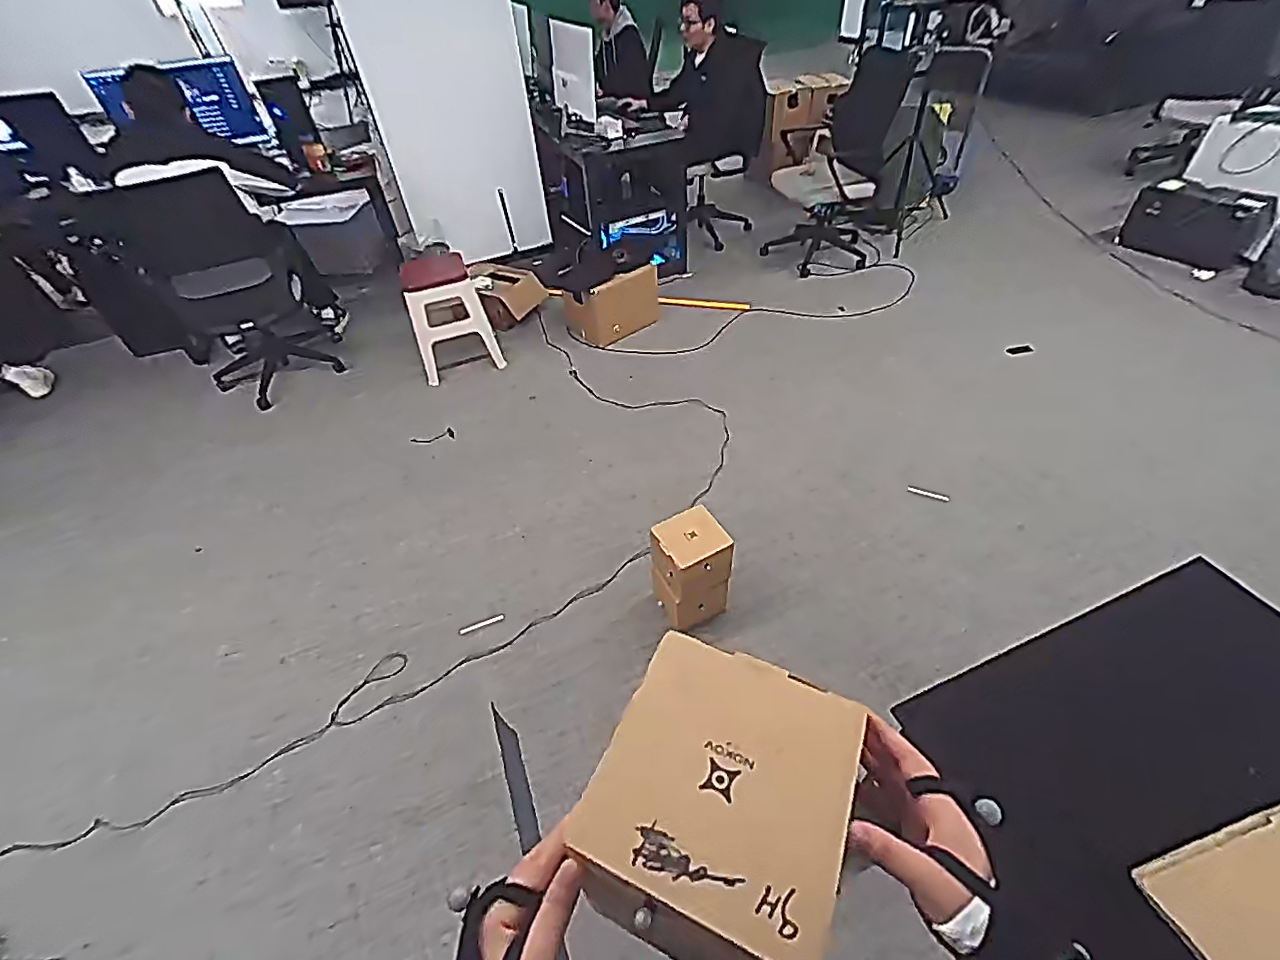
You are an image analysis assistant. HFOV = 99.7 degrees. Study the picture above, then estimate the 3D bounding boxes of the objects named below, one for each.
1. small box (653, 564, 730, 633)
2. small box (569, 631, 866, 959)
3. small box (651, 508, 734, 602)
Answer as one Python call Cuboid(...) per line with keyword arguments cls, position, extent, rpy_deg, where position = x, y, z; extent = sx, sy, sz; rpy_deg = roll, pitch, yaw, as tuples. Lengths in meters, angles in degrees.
Cuboid(cls="small box", position=(0.154, 0.335, 1.653), extent=(0.179, 0.176, 0.168), rpy_deg=(-22, 47, -15))
Cuboid(cls="small box", position=(0.065, 0.261, 0.429), extent=(0.168, 0.176, 0.179), rpy_deg=(15, 43, 22))
Cuboid(cls="small box", position=(0.149, 0.218, 1.541), extent=(0.179, 0.176, 0.168), rpy_deg=(-23, 49, -18))
